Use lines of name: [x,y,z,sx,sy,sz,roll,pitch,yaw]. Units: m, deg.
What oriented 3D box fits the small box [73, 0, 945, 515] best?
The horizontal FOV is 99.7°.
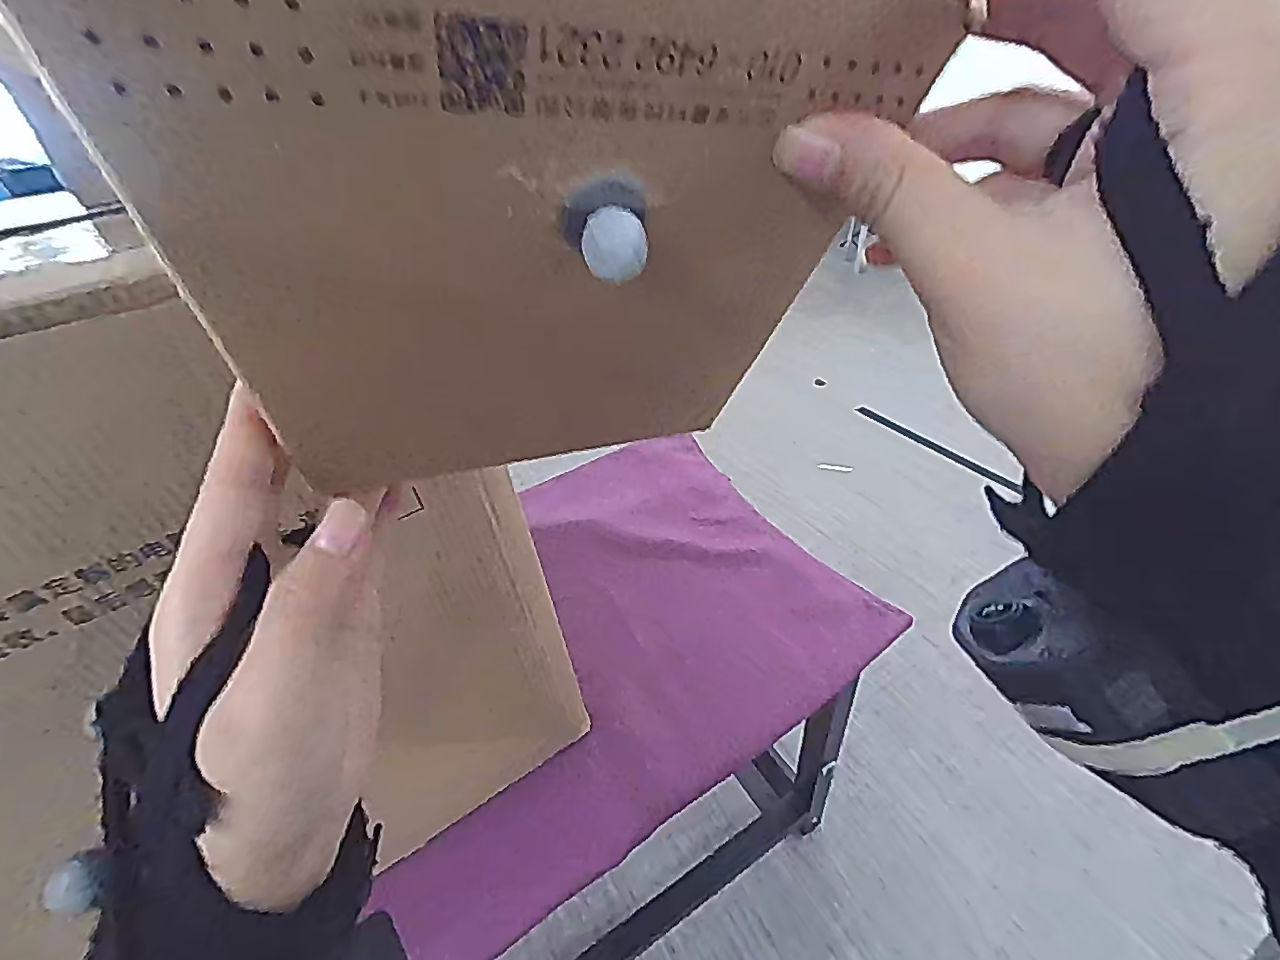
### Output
small box: [-0.043,-0.113,0.188,0.168,0.176,0.179,-11,66,-21]
